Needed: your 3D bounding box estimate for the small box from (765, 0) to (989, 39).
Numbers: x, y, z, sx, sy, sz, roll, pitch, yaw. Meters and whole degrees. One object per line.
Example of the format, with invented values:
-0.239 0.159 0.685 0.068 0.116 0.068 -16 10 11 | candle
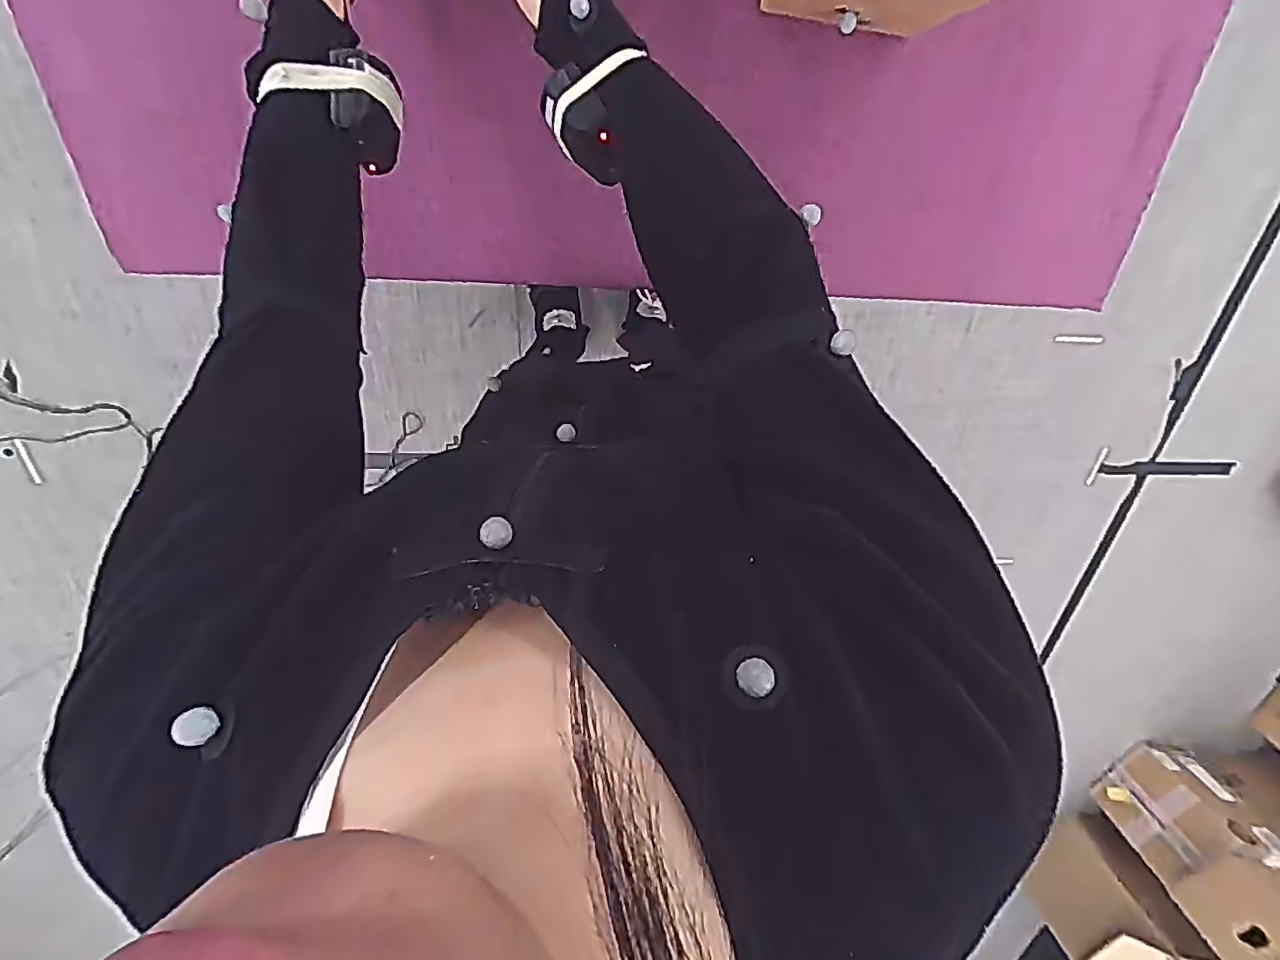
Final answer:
0.216 -0.509 0.452 0.168 0.176 0.179 3 119 -9 | small box
